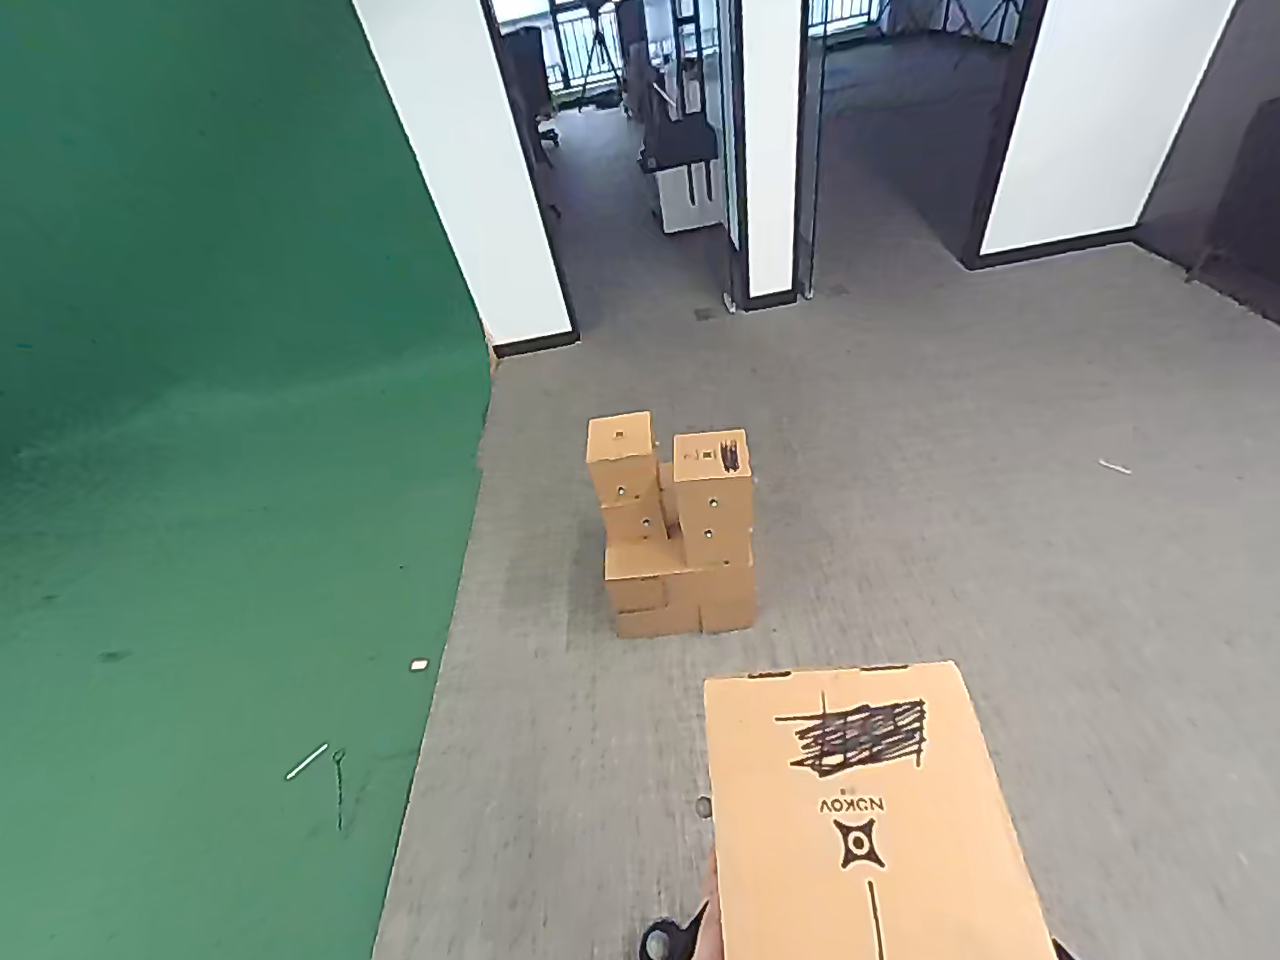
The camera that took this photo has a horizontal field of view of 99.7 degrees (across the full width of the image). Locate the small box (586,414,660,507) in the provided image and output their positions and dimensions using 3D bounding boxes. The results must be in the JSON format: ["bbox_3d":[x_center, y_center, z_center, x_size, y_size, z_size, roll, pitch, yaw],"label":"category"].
[{"bbox_3d":[-0.041,-0.051,1.434,0.168,0.176,0.179,-8,43,6],"label":"small box"}]

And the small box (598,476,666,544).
[{"bbox_3d":[-0.017,0.069,1.542,0.168,0.176,0.179,-7,42,7],"label":"small box"}]

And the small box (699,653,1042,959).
[{"bbox_3d":[0.133,0.236,0.380,0.168,0.176,0.179,-6,57,9],"label":"small box"}]

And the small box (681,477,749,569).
[{"bbox_3d":[0.198,0.116,1.435,0.168,0.176,0.179,-5,42,8],"label":"small box"}]
